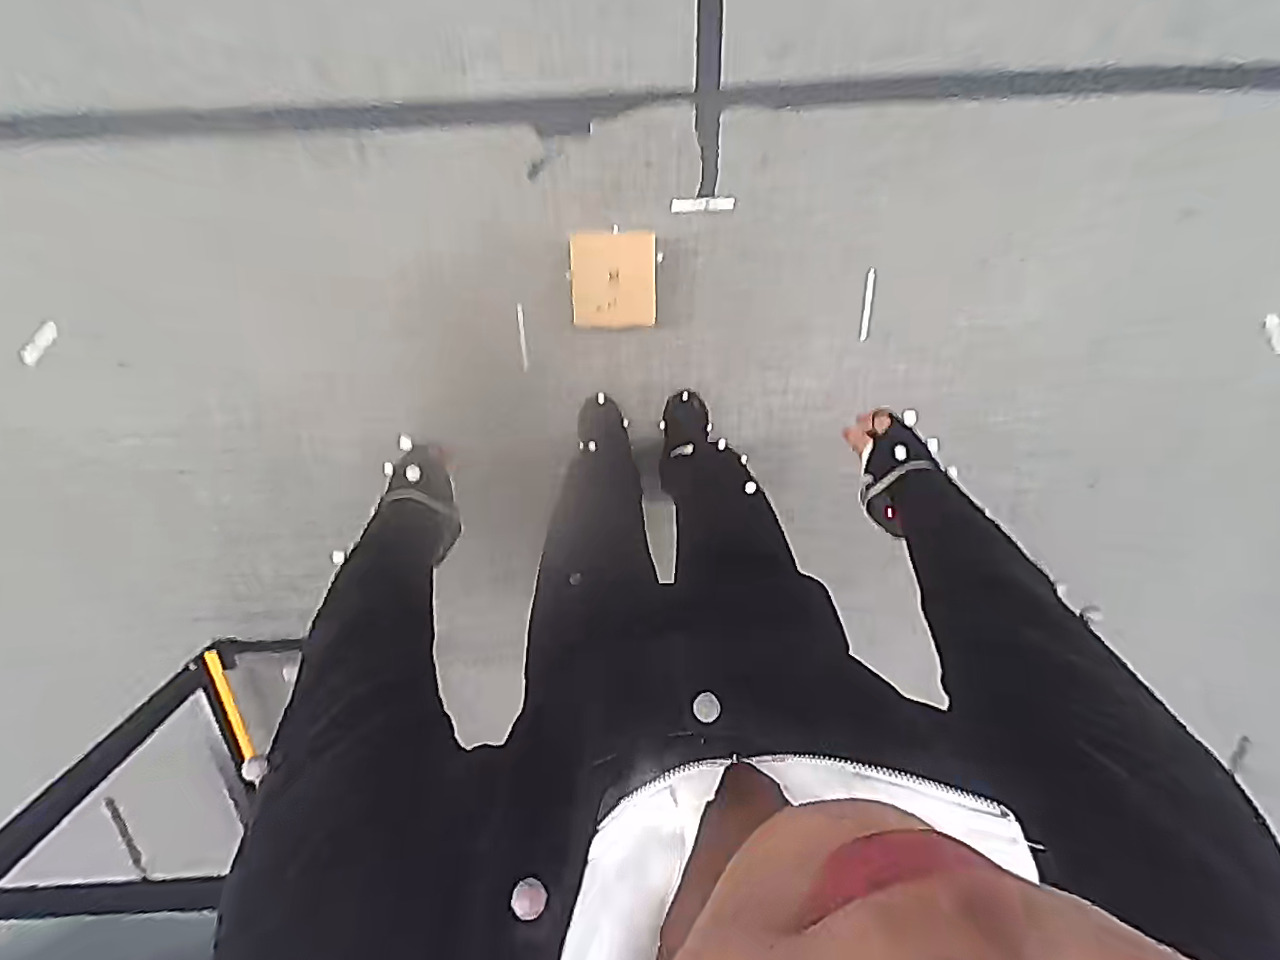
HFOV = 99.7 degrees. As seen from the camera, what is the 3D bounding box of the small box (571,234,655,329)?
[{"bbox_3d":[-0.056,-0.416,1.141,0.168,0.176,0.179,-1,111,-1],"label":"small box"}]
